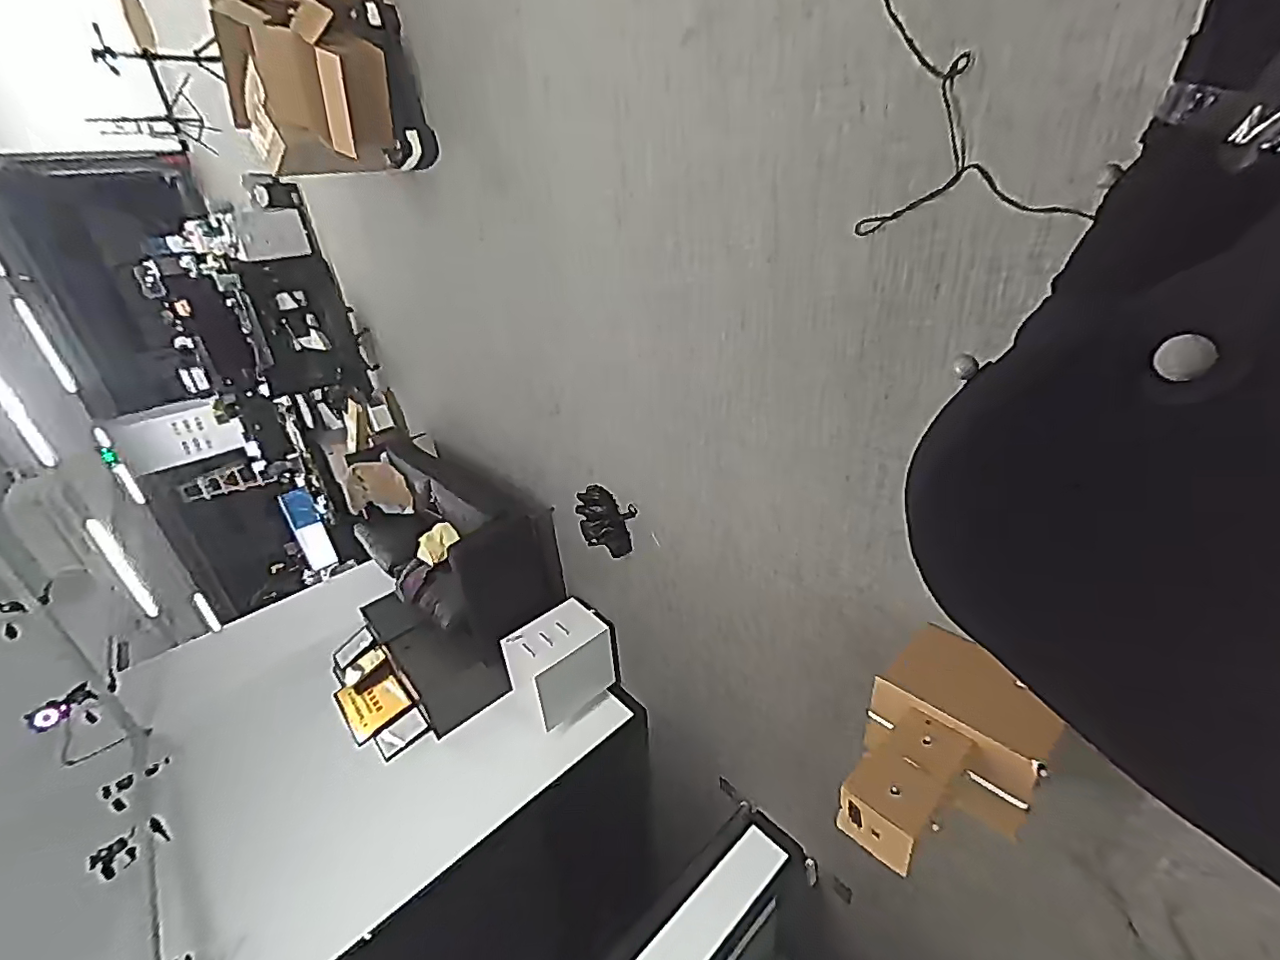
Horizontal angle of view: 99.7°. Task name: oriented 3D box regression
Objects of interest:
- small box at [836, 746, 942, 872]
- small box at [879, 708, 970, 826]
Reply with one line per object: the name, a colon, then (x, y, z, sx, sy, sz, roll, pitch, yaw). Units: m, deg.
small box: (0.609, 0.794, 1.331, 0.179, 0.176, 0.168, 22, 128, 47)
small box: (0.739, 0.742, 1.419, 0.168, 0.176, 0.179, 22, 128, 45)
